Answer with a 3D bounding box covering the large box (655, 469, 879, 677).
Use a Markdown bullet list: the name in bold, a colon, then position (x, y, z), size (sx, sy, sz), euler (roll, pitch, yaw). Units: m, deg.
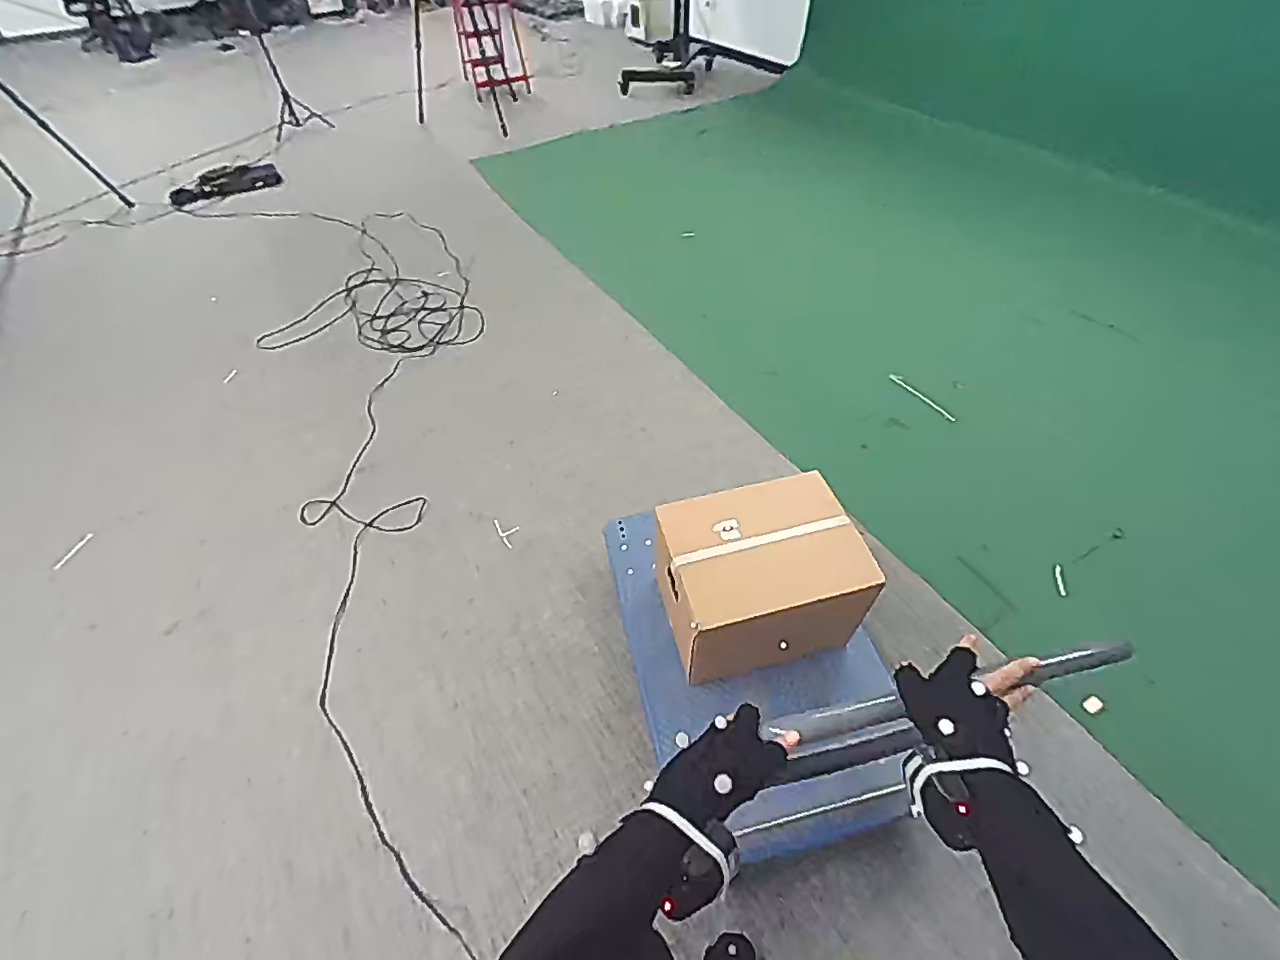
- **large box**: position (0.270, 0.224, 1.283), size (0.408, 0.320, 0.320), euler (-13, 51, -7)
